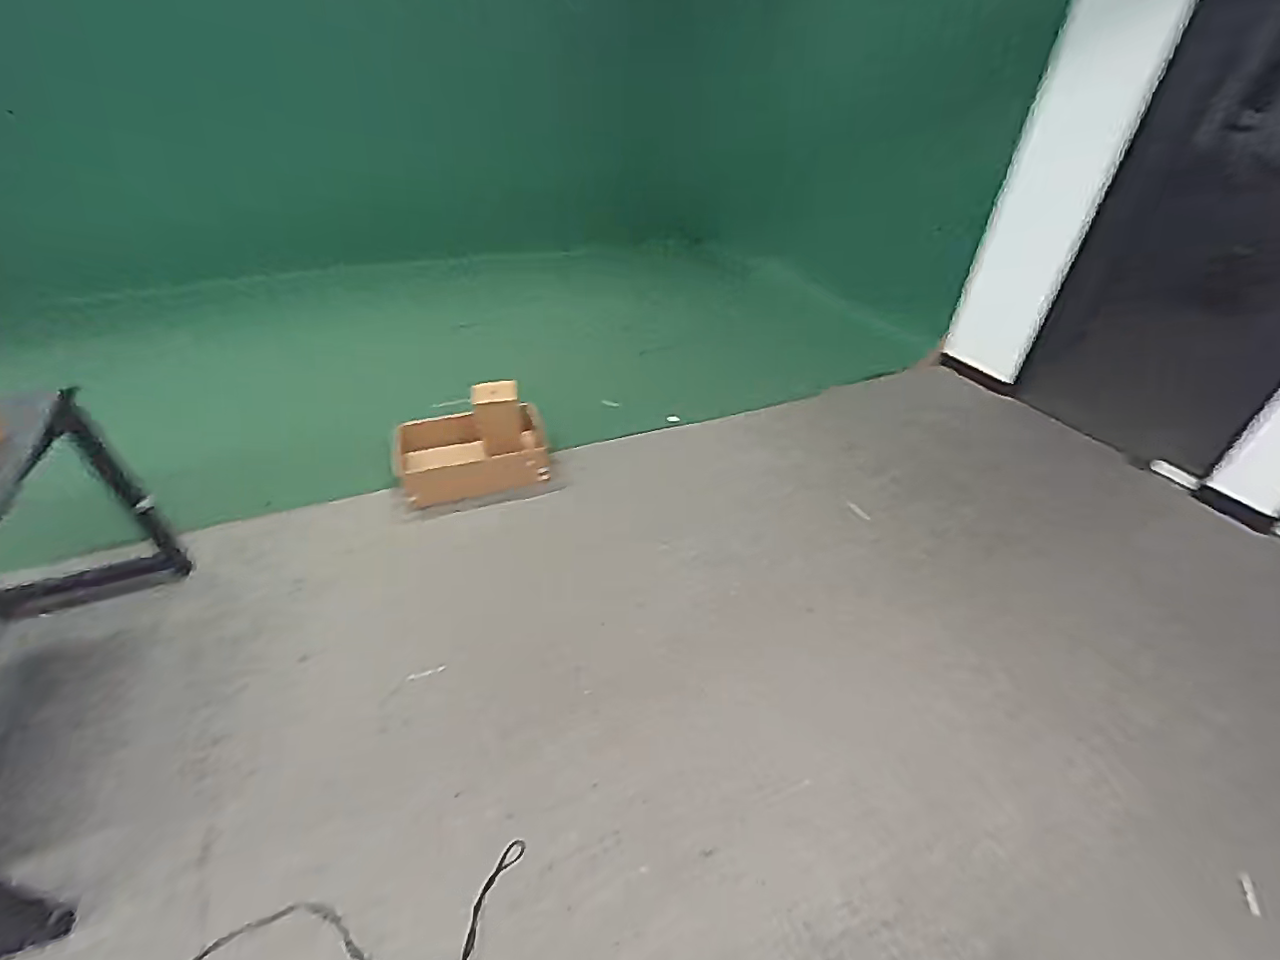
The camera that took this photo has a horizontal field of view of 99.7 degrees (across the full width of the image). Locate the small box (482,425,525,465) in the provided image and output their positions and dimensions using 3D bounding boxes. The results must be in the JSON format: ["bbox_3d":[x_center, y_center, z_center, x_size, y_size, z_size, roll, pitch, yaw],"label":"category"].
[{"bbox_3d":[-0.615,-0.189,2.440,0.168,0.176,0.179,-8,41,-10],"label":"small box"}]

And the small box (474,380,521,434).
[{"bbox_3d":[-0.611,-0.314,2.333,0.179,0.176,0.168,-7,40,-10],"label":"small box"}]
